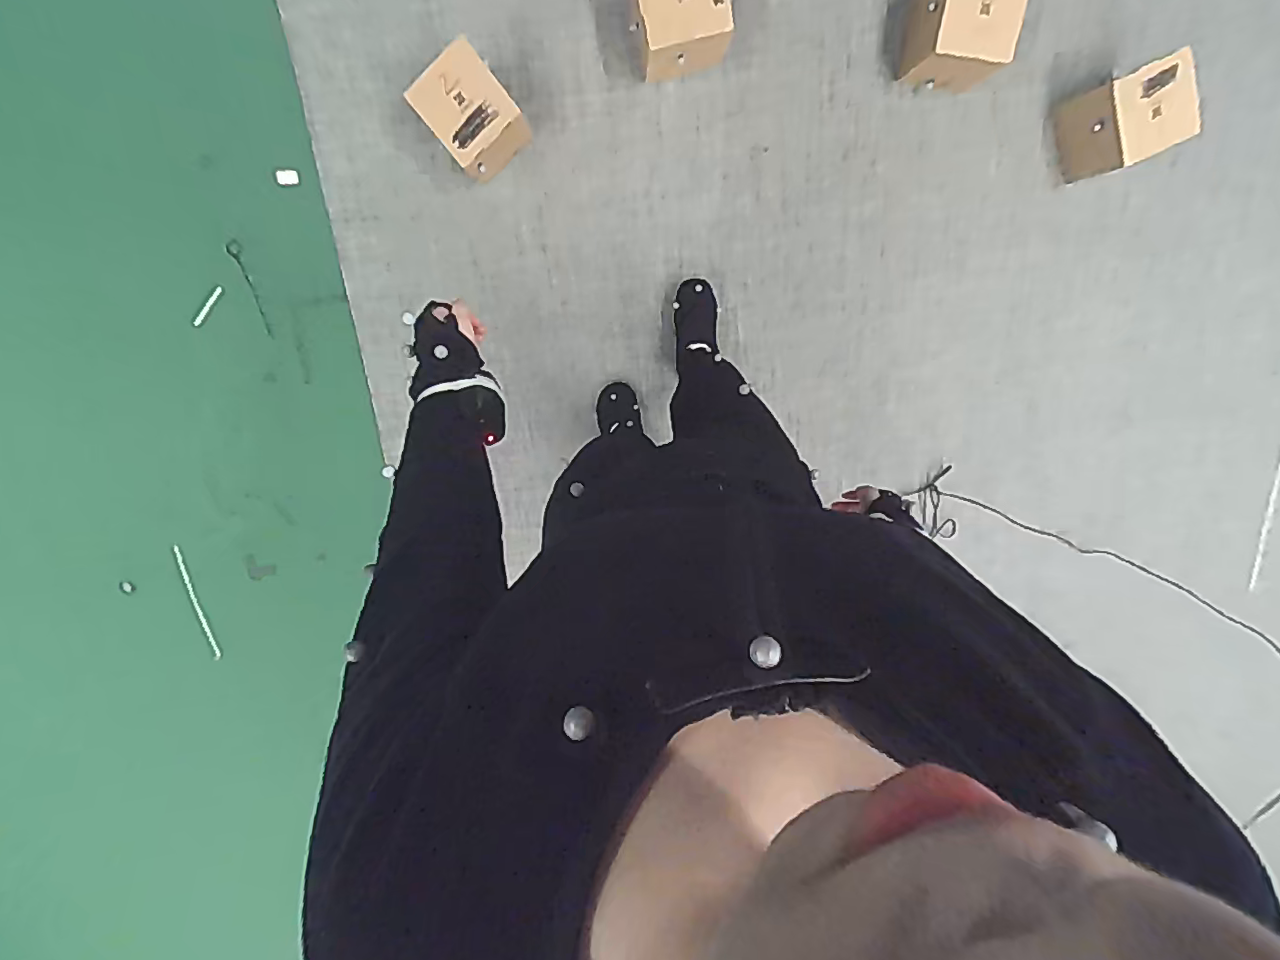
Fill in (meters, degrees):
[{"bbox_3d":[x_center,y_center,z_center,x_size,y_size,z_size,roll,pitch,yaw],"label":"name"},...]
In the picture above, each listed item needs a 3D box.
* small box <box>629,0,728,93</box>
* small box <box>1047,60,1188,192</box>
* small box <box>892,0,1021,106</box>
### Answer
[{"bbox_3d":[0.075,-0.953,1.137,0.179,0.176,0.168,-13,107,2],"label":"small box"},{"bbox_3d":[1.072,-0.791,1.229,0.168,0.176,0.179,-24,106,5],"label":"small box"},{"bbox_3d":[0.673,-0.948,1.166,0.168,0.176,0.179,6,106,-4],"label":"small box"}]
